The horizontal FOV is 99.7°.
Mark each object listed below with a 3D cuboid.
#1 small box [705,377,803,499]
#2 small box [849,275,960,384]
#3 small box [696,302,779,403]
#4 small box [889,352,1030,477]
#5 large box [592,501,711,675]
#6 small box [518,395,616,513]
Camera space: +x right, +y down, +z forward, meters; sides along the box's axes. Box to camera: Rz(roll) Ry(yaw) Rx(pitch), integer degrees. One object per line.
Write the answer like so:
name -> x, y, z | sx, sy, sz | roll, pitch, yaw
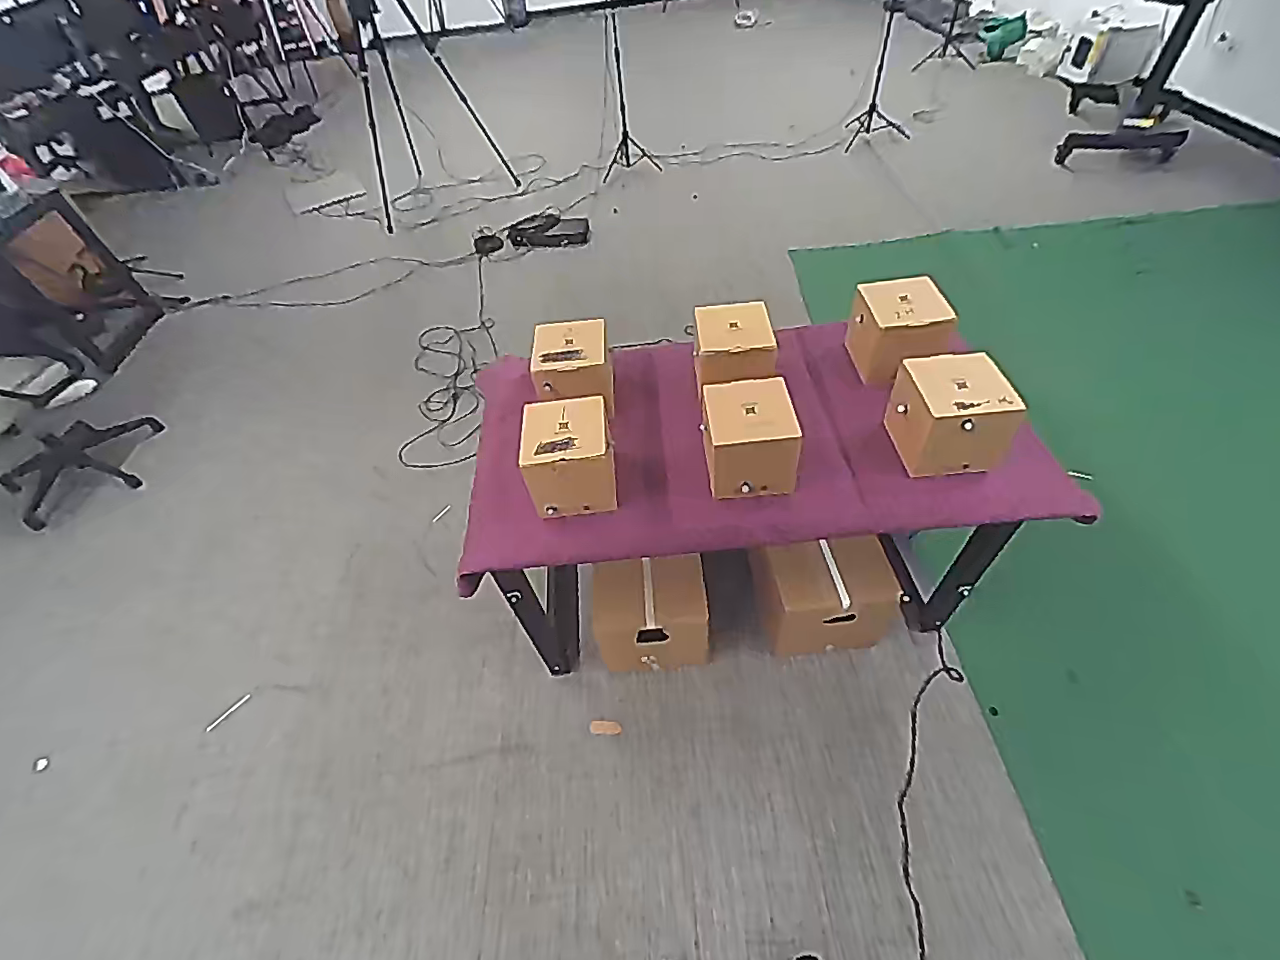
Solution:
small box -> 0.220, -0.082, 1.092 | 0.168, 0.176, 0.179 | -5, 49, 4
small box -> 0.602, -0.348, 1.259 | 0.168, 0.176, 0.179 | -6, 51, 5
small box -> 0.220, -0.293, 1.269 | 0.168, 0.176, 0.179 | -4, 51, 3
small box -> 0.617, -0.128, 1.075 | 0.168, 0.176, 0.179 | -6, 48, 5
large box -> 0.033, 0.327, 1.640 | 0.320, 0.320, 0.408 | -6, 49, 2
small box -> -0.141, -0.046, 1.106 | 0.168, 0.176, 0.179 | -6, 48, 1
